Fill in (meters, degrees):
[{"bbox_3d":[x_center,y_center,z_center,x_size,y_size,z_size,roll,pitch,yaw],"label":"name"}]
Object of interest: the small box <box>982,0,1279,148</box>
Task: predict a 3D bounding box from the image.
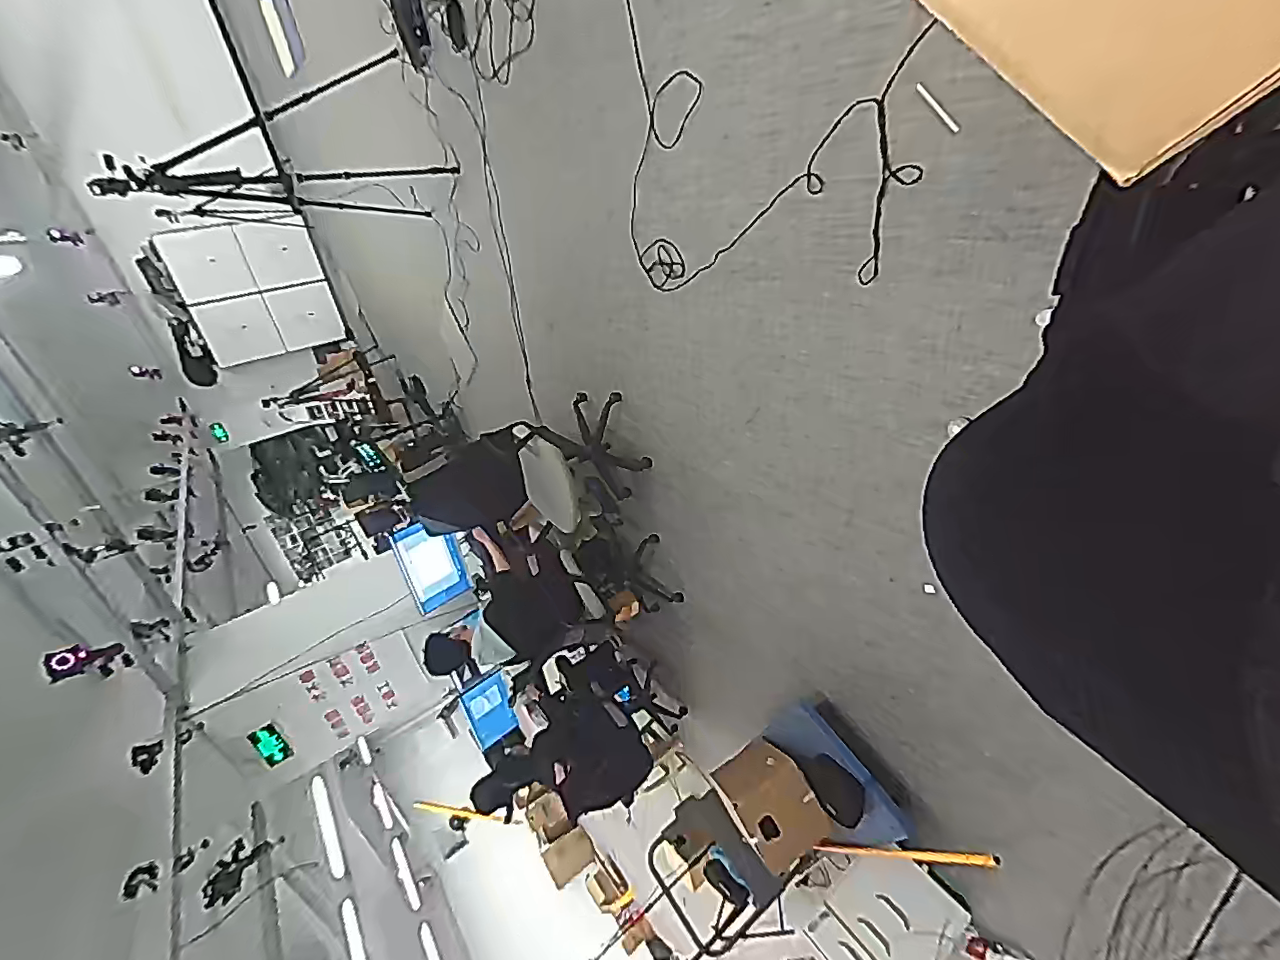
[{"bbox_3d":[0.216,-0.270,0.175,0.176,0.168,0.179,43,162,2],"label":"small box"}]
